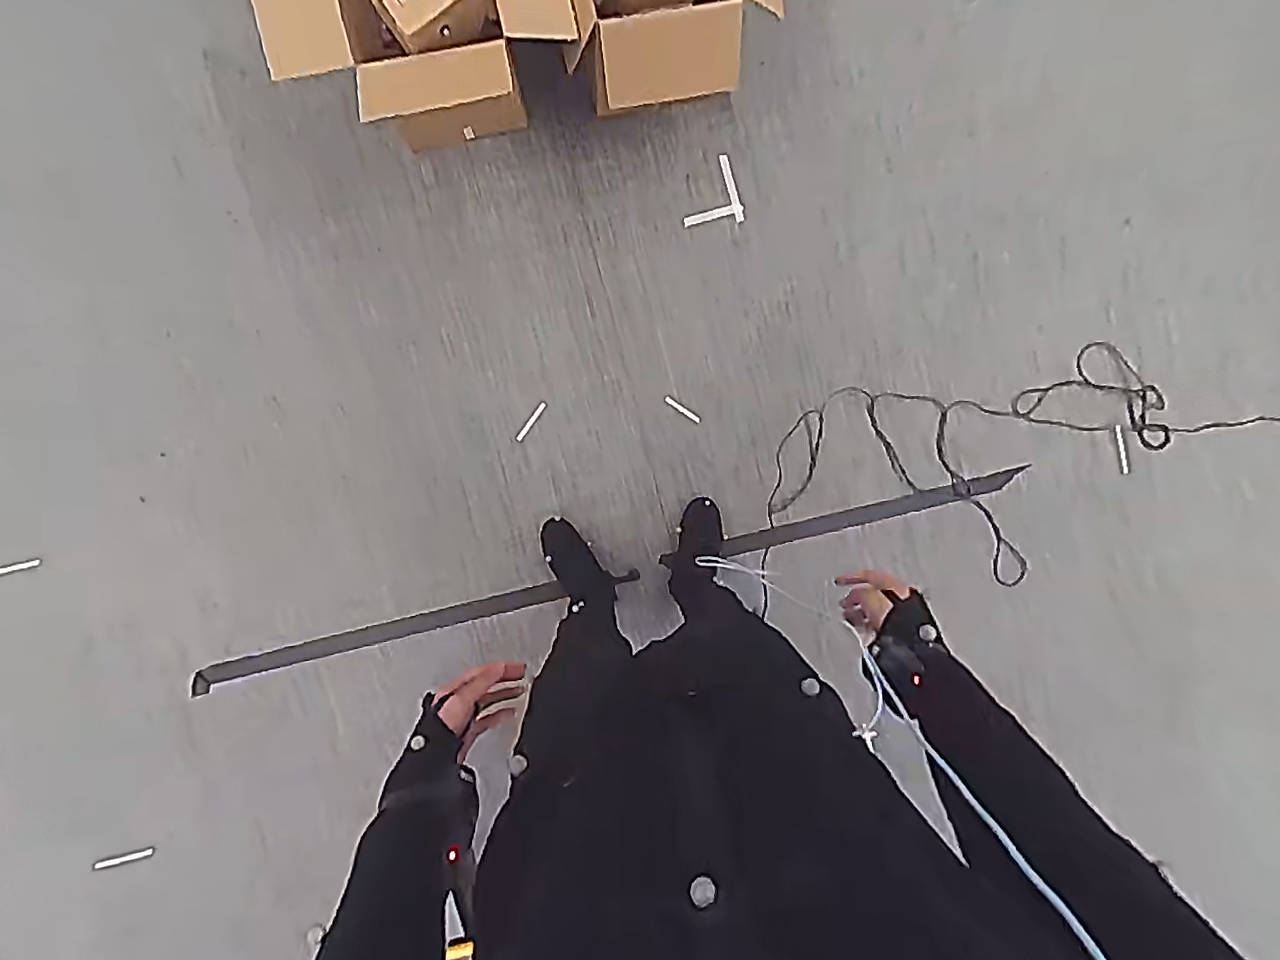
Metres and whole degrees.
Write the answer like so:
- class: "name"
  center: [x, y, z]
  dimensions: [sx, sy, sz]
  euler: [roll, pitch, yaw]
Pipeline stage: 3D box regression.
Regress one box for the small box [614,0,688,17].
- class: "small box"
  center: [0.026, -1.106, 1.108]
  dimensions: [0.179, 0.176, 0.168]
  euler: [-12, 96, -3]
